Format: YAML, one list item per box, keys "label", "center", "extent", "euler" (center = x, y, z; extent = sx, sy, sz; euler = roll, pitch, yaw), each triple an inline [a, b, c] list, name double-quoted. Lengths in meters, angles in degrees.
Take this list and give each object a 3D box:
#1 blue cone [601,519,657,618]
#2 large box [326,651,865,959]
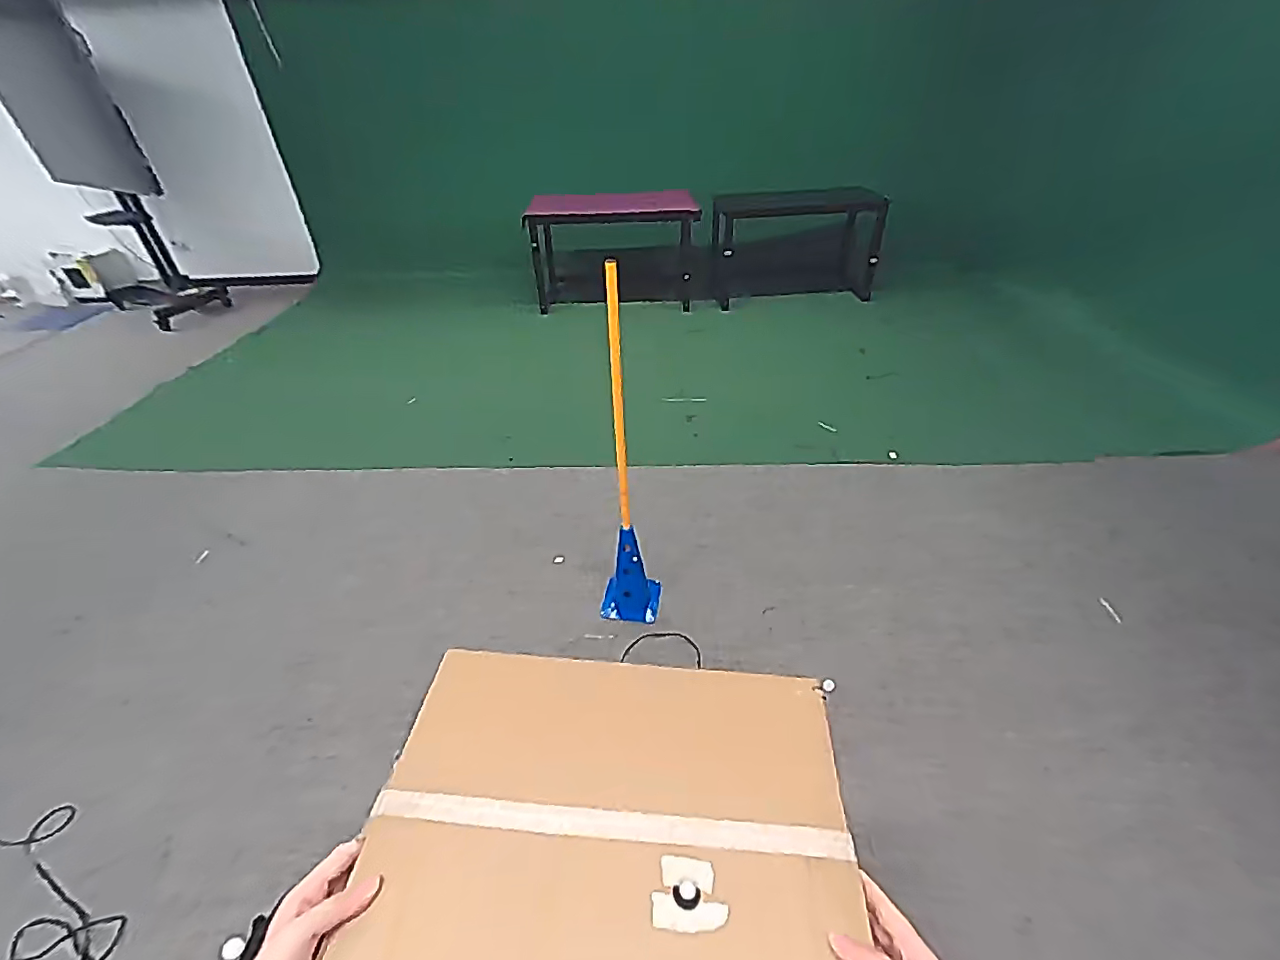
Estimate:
- label: "blue cone"
  center: [-0.042, 0.296, 1.890]
  extent: [0.193, 0.380, 0.192]
  euler: [5, 37, 9]
- label: "large box"
  center: [-0.029, 0.412, 0.563]
  extent: [0.408, 0.320, 0.320]
  euler: [4, 39, 3]
